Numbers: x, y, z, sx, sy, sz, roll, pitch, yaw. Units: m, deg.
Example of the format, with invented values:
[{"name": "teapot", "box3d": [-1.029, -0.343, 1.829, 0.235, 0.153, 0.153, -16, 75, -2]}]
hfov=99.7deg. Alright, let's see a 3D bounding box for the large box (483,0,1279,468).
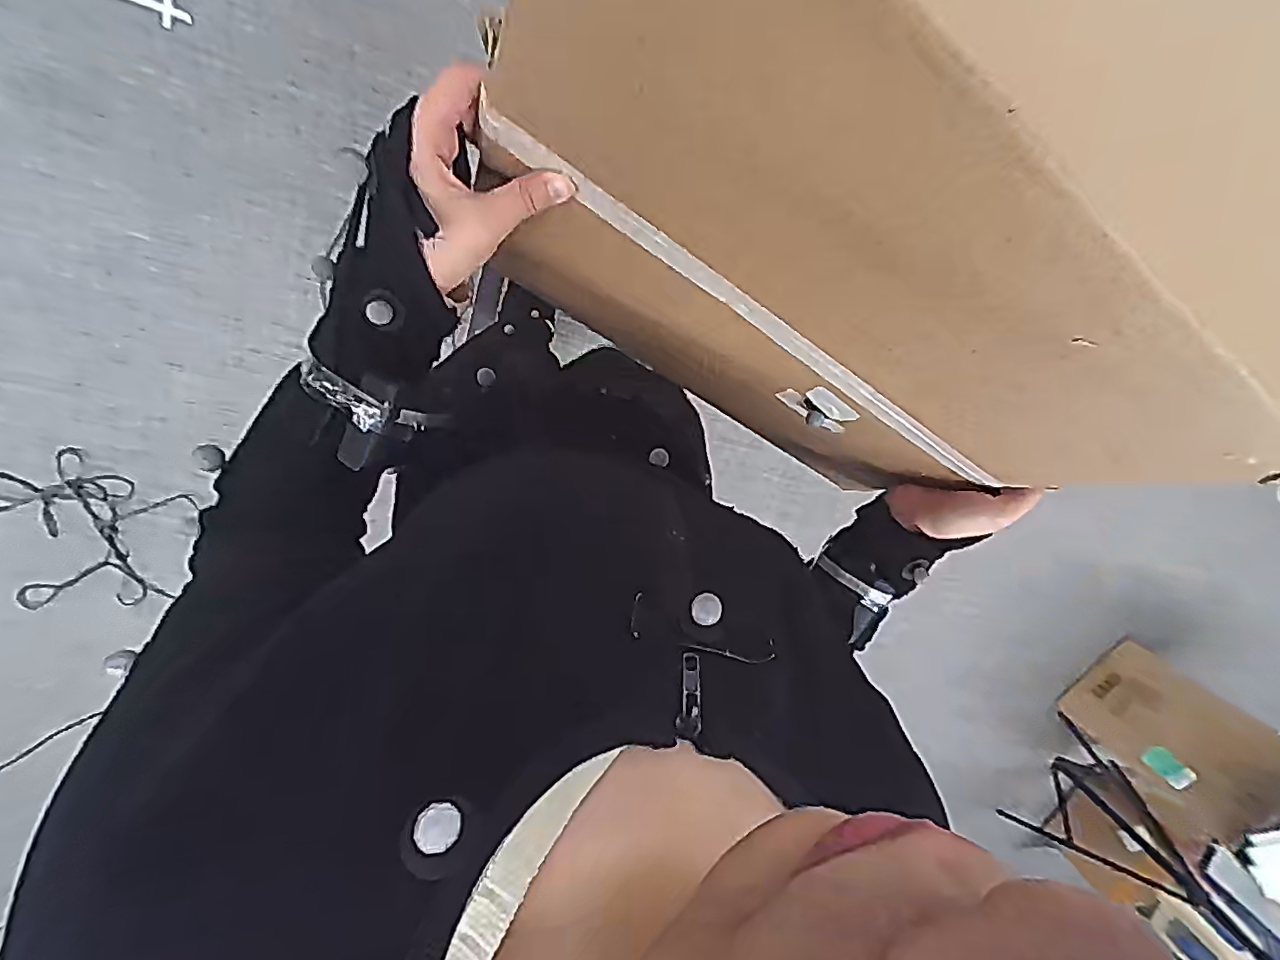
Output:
[{"name": "large box", "box3d": [0.169, -0.237, 0.325, 0.408, 0.320, 0.320, 28, 80, -20]}]
